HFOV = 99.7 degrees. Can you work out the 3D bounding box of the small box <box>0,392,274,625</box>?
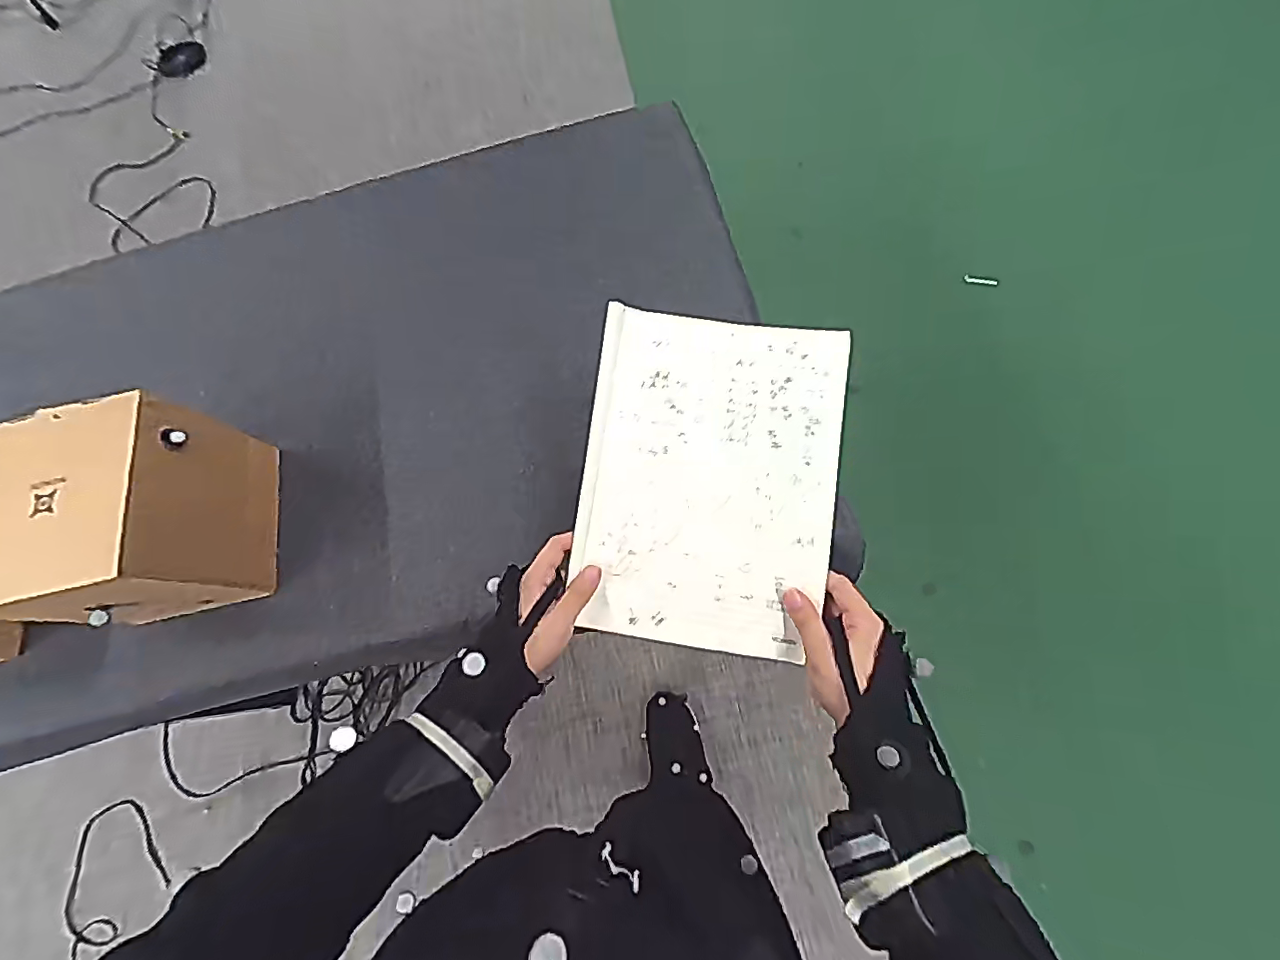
[{"bbox_3d":[-0.499,0.042,0.533,0.168,0.176,0.179,-13,71,4],"label":"small box"}]
